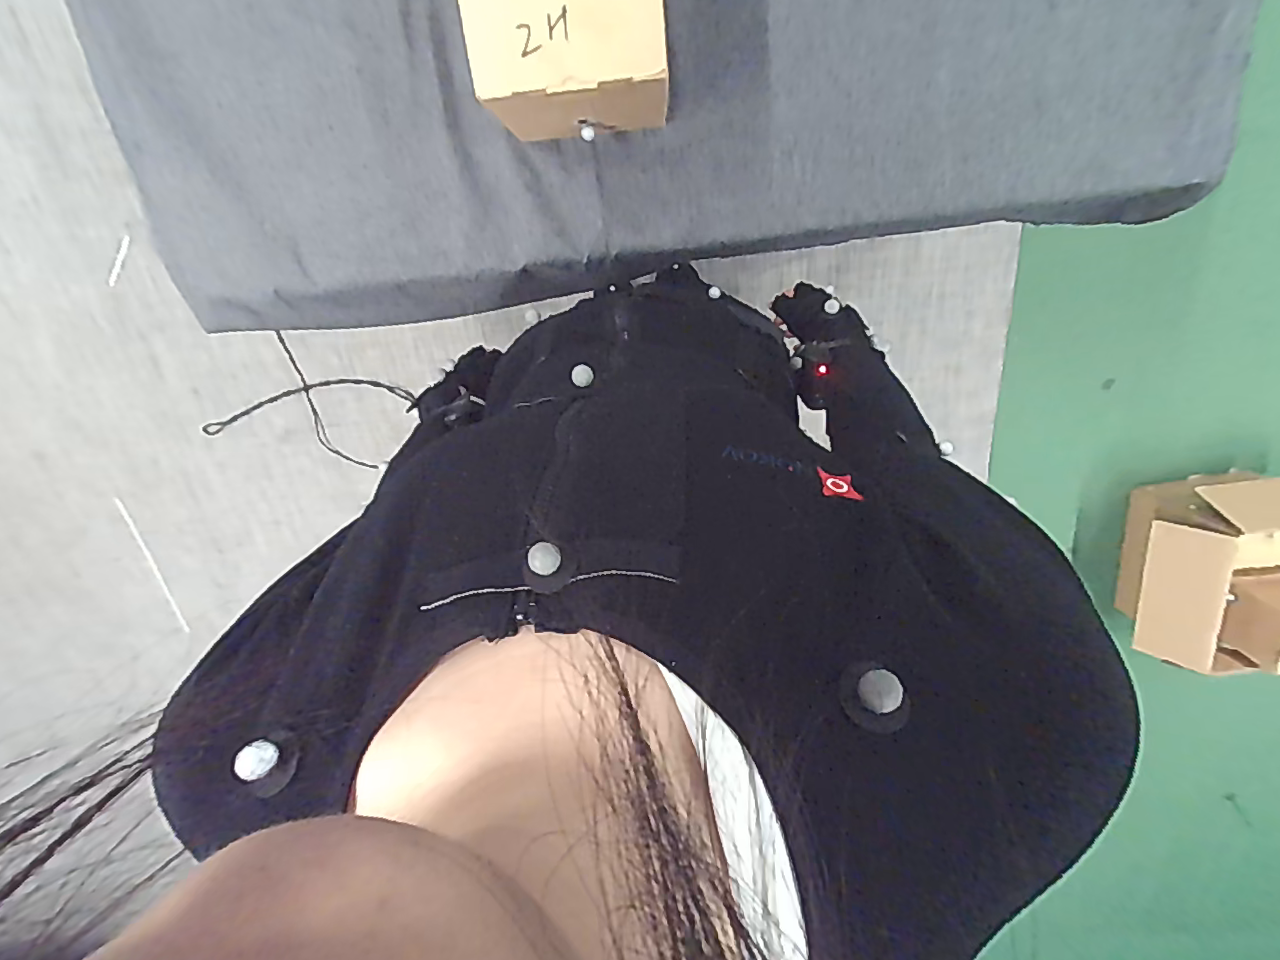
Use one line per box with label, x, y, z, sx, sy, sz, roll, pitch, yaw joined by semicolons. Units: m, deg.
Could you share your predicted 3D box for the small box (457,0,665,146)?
small box;-0.067;-0.434;0.501;0.168;0.176;0.179;-5;112;4
